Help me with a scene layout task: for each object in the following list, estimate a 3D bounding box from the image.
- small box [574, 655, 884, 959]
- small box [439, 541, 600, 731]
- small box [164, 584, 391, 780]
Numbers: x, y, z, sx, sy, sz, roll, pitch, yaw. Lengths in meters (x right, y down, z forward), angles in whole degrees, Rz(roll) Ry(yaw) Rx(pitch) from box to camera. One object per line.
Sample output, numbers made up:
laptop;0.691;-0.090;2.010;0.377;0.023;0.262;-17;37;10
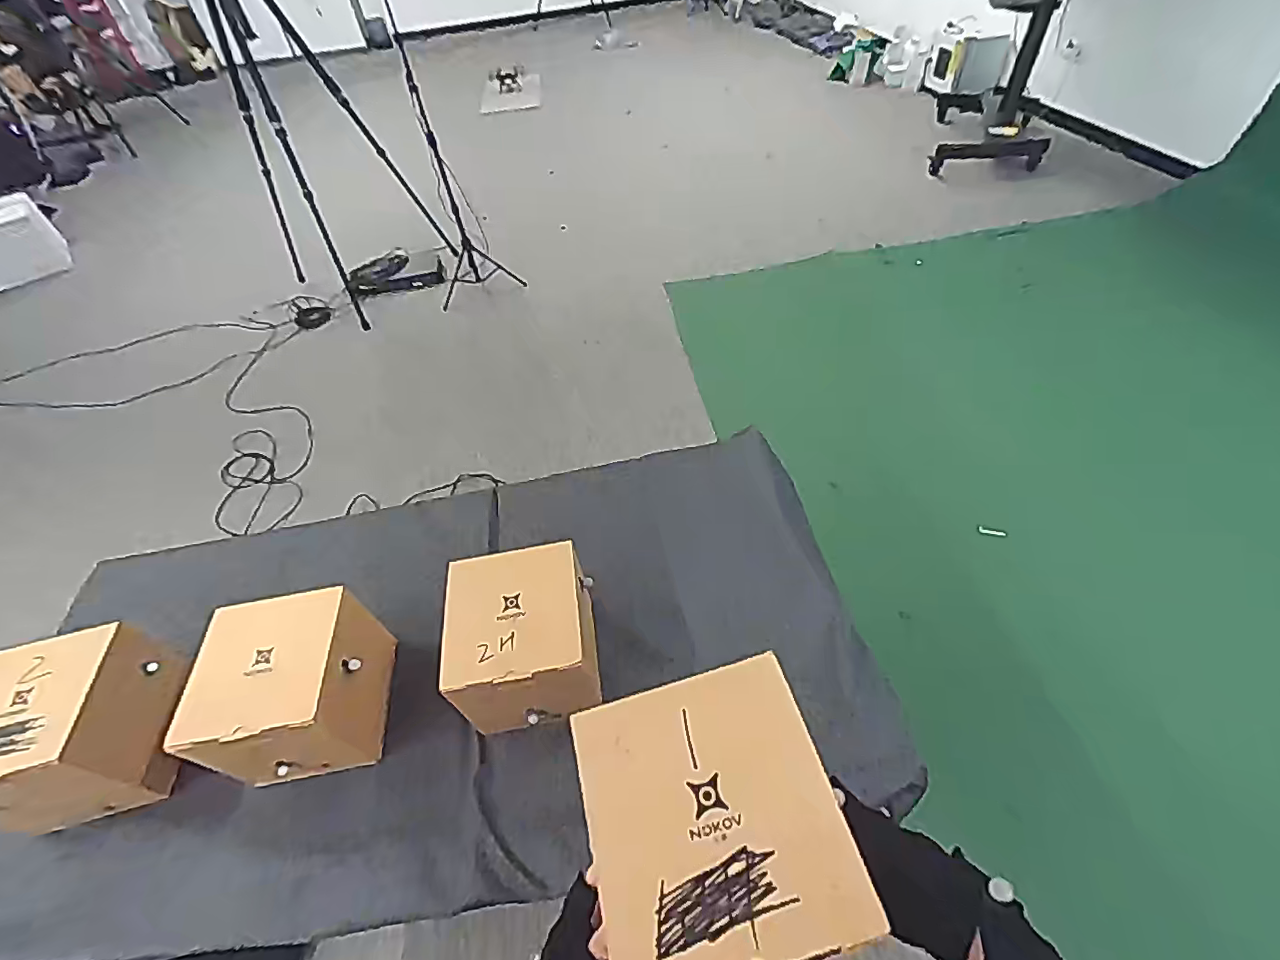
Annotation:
small box;0.059;0.267;0.425;0.168;0.176;0.179;-16;53;-2
small box;-0.150;0.208;0.719;0.168;0.176;0.179;-9;49;-3
small box;-0.443;0.263;0.701;0.168;0.176;0.179;-9;50;-4
